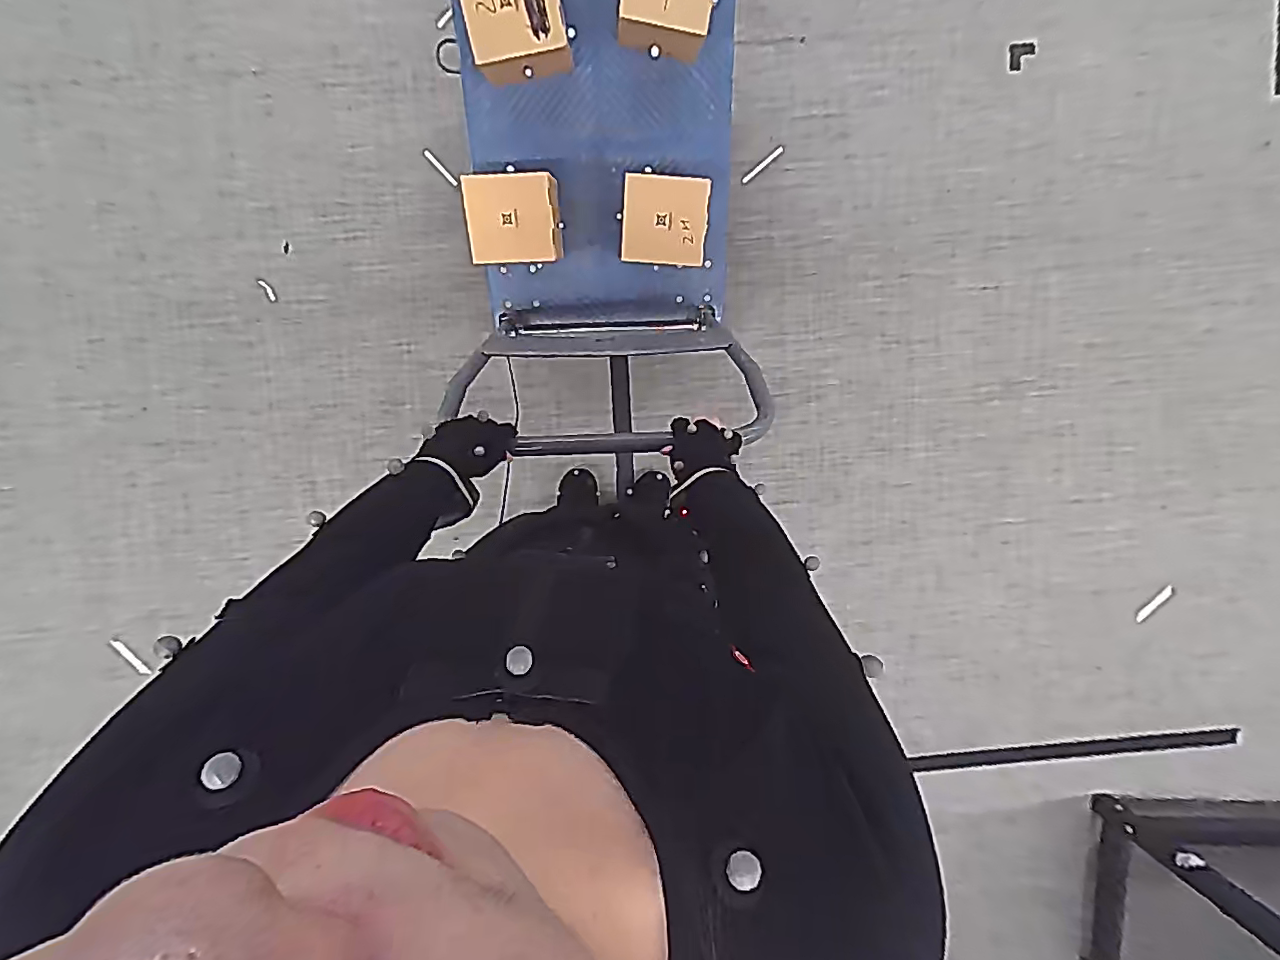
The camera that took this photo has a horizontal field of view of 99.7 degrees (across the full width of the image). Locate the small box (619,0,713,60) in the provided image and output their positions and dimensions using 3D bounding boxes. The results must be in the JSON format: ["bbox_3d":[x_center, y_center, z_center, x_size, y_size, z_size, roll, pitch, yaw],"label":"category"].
[{"bbox_3d":[0.053,-0.934,1.016,0.168,0.176,0.179,8,114,-6],"label":"small box"}]

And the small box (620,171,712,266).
[{"bbox_3d":[0.049,-0.564,1.179,0.179,0.176,0.168,3,114,-3],"label":"small box"}]

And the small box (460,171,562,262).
[{"bbox_3d":[-0.269,-0.562,1.169,0.179,0.176,0.168,-4,114,-2],"label":"small box"}]
